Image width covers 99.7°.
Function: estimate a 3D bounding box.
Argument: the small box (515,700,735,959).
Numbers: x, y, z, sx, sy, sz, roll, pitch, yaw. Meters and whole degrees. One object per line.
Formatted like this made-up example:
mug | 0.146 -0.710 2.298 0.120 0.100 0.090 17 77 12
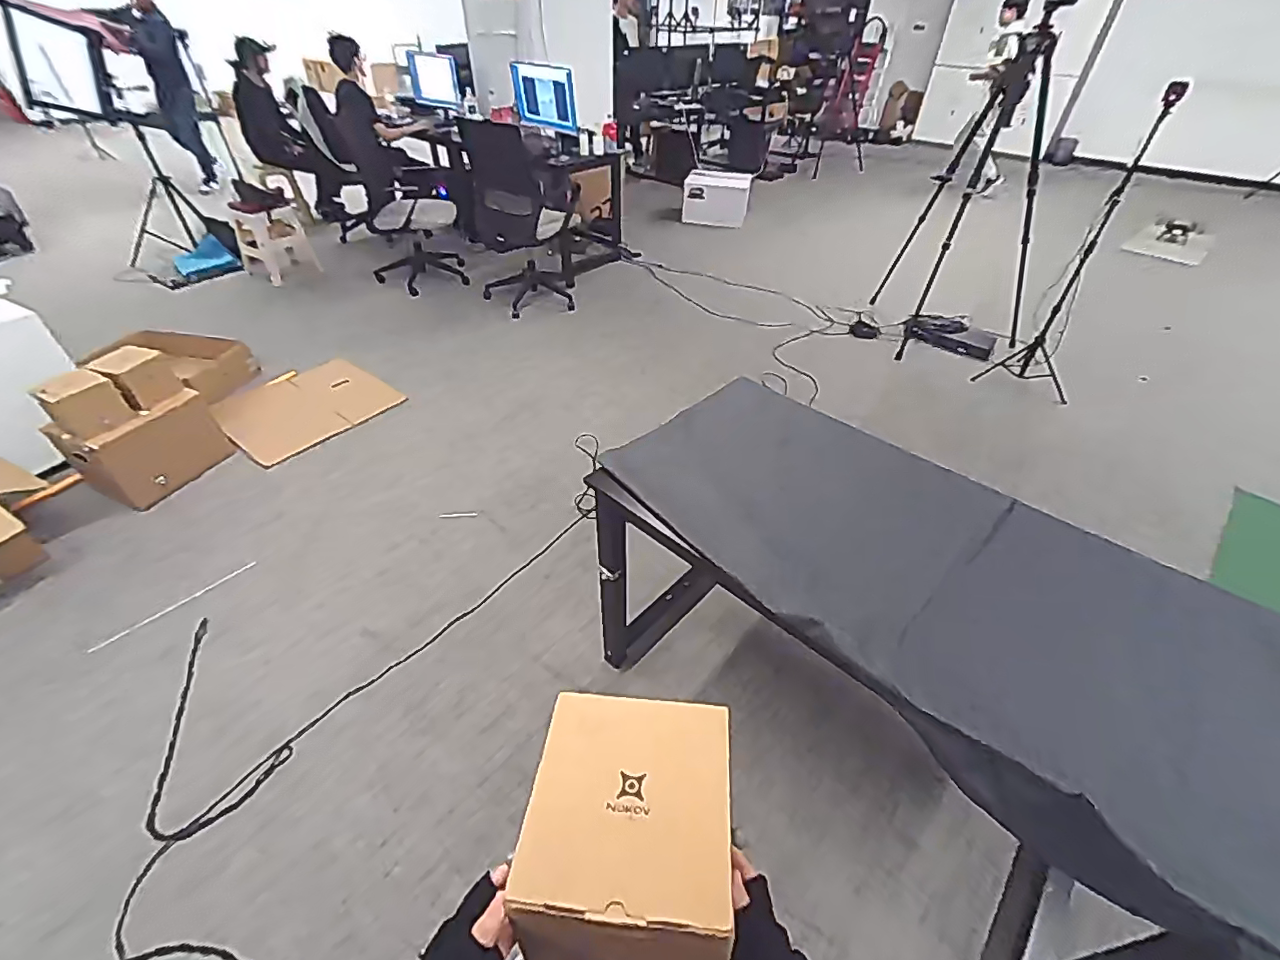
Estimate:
small box | -0.003 0.337 0.503 0.168 0.176 0.179 3 35 6
